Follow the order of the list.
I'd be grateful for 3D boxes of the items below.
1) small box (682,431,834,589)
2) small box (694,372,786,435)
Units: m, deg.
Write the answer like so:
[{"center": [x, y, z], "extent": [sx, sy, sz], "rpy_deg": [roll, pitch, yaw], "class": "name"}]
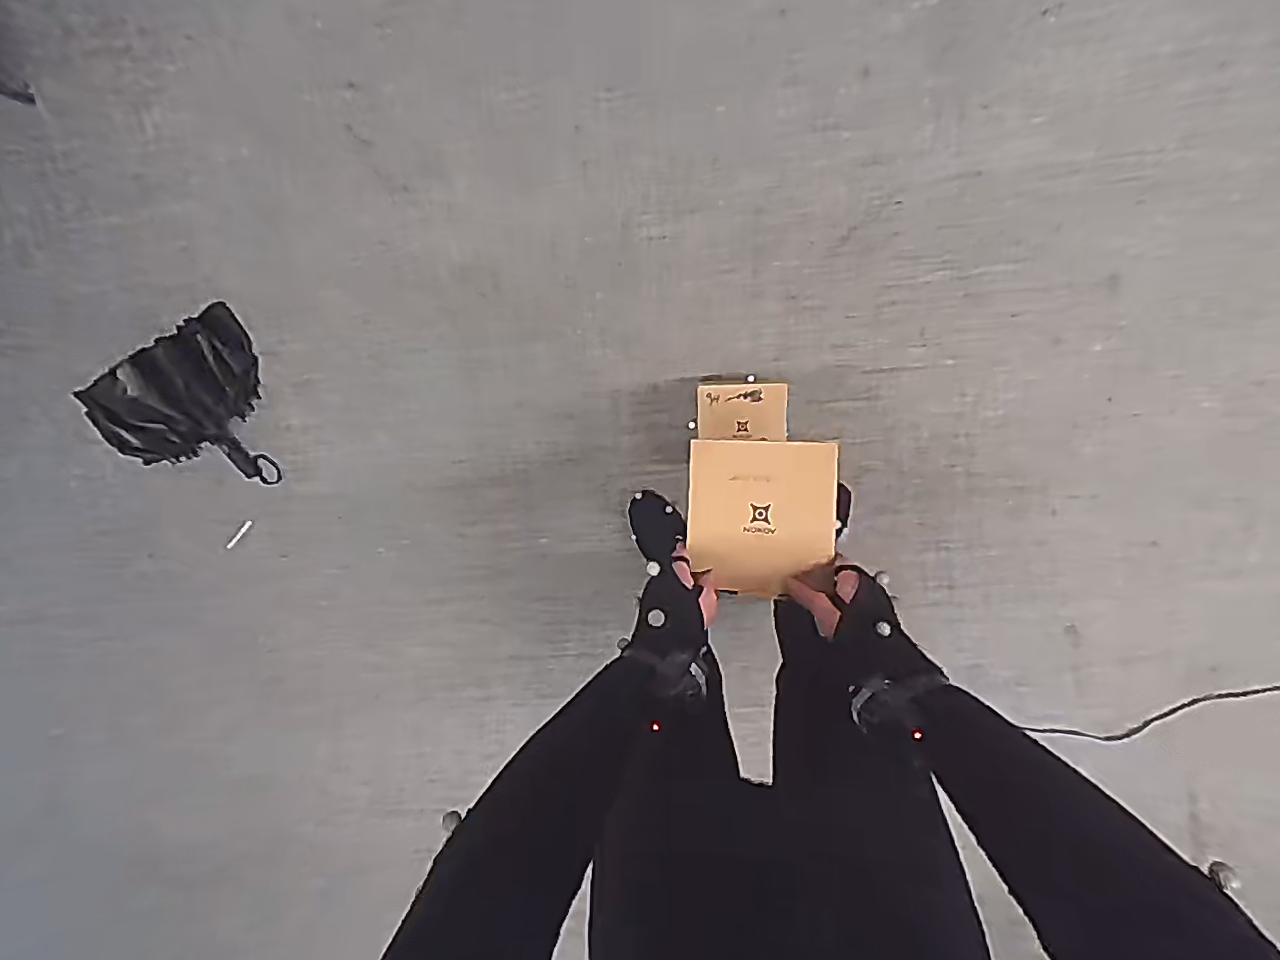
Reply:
[{"center": [0.145, 0.035, 0.699], "extent": [0.168, 0.176, 0.179], "rpy_deg": [3, 88, 7], "class": "small box"}, {"center": [0.194, -0.122, 1.089], "extent": [0.168, 0.176, 0.179], "rpy_deg": [0, 104, 5], "class": "small box"}]
